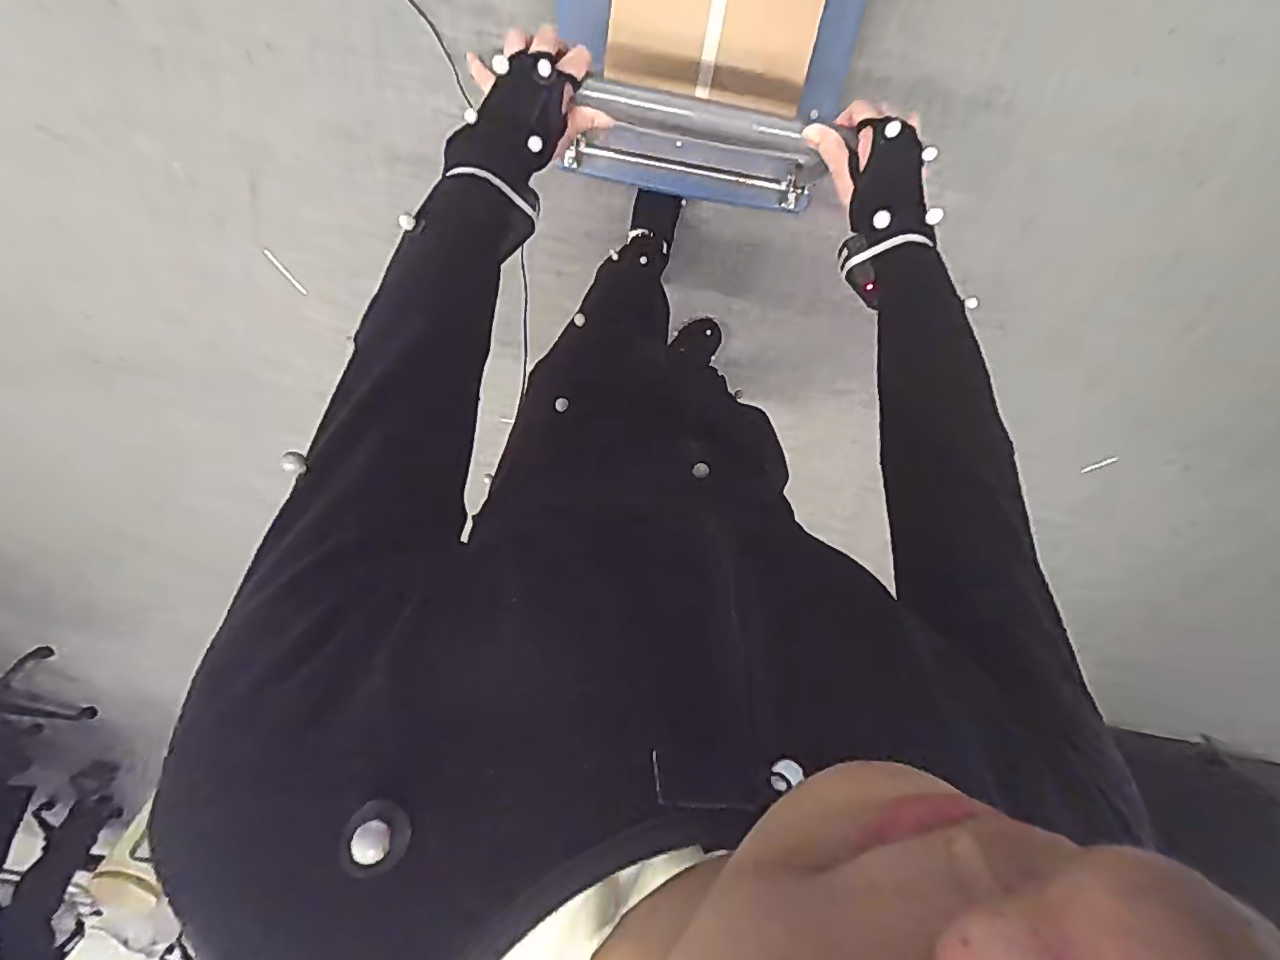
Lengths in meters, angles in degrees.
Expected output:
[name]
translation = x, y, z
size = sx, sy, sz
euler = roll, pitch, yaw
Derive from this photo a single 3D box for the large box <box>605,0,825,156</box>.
[large box]
translation = 0.133, -0.812, 0.917
size = 0.320, 0.320, 0.408
euler = 10, 116, -1
